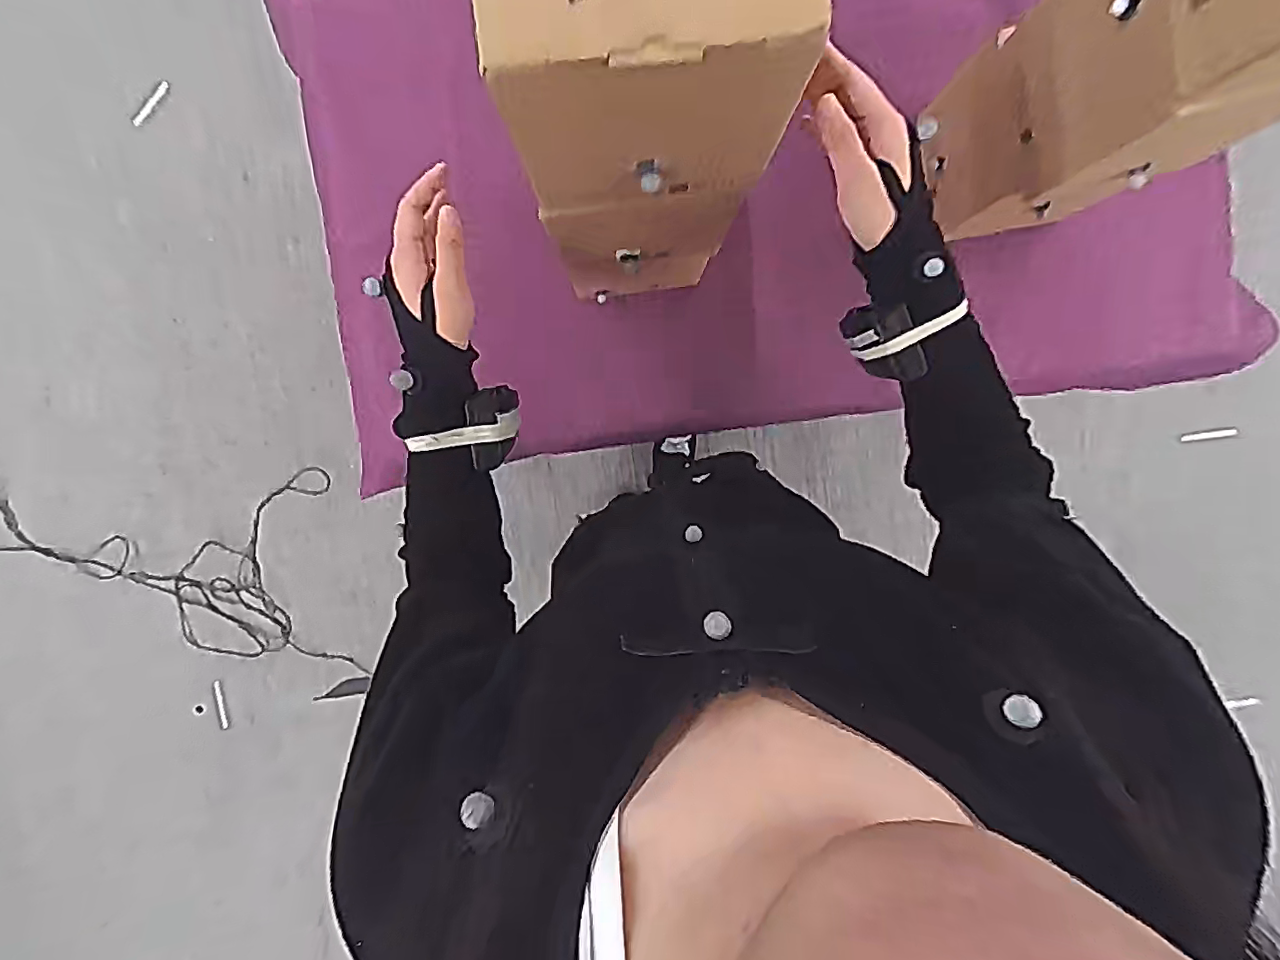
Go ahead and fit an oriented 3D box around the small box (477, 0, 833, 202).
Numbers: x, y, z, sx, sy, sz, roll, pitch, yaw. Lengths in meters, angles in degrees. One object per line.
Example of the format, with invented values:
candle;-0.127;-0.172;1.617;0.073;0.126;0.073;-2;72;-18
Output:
small box;0.000;-0.295;0.321;0.168;0.176;0.179;-5;96;1

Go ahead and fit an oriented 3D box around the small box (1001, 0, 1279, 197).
small box;0.472;-0.385;0.484;0.179;0.176;0.168;-13;95;0

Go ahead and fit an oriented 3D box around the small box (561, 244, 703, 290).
small box;-0.012;-0.337;0.646;0.168;0.176;0.179;-8;95;0

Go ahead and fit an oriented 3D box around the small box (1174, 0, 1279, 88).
small box;0.471;-0.377;0.321;0.179;0.176;0.168;-12;95;1

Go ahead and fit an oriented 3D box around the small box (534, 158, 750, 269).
small box;-0.007;-0.310;0.485;0.168;0.176;0.179;-7;96;0
